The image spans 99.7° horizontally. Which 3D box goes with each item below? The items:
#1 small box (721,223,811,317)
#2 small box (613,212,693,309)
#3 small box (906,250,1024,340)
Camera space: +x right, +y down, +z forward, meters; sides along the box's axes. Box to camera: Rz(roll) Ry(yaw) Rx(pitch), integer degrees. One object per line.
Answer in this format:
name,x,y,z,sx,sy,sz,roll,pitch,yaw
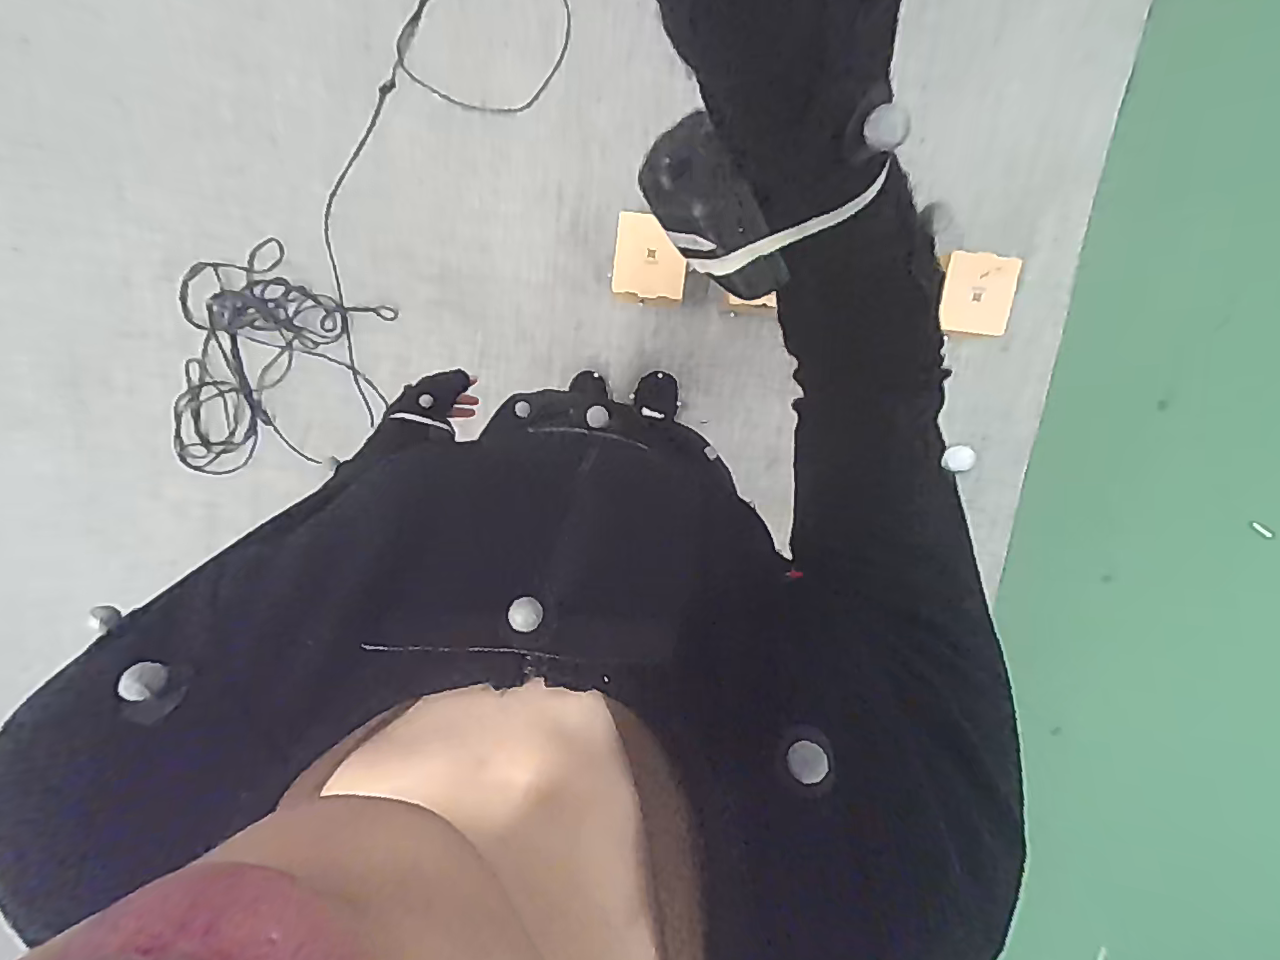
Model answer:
small box,0.292,-0.493,1.295,0.168,0.176,0.179,6,100,0
small box,0.028,-0.517,1.295,0.168,0.176,0.179,6,101,0
small box,0.770,-0.438,1.305,0.168,0.176,0.179,7,101,-2
